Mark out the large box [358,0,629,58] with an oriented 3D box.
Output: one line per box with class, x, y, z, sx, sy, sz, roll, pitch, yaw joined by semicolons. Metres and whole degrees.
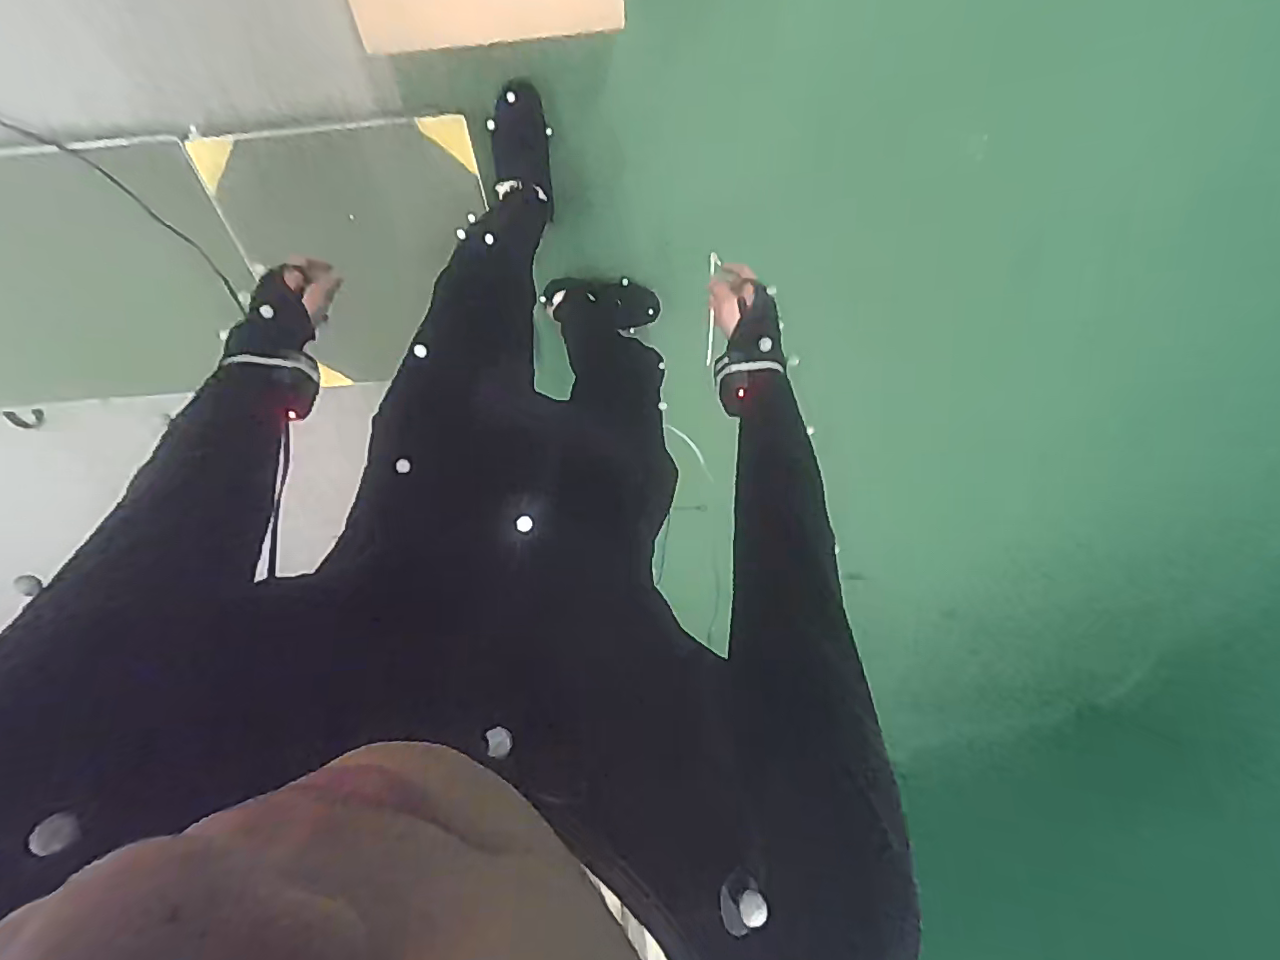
large box;-0.236;-0.887;0.847;0.408;0.320;0.320;-6;132;0
